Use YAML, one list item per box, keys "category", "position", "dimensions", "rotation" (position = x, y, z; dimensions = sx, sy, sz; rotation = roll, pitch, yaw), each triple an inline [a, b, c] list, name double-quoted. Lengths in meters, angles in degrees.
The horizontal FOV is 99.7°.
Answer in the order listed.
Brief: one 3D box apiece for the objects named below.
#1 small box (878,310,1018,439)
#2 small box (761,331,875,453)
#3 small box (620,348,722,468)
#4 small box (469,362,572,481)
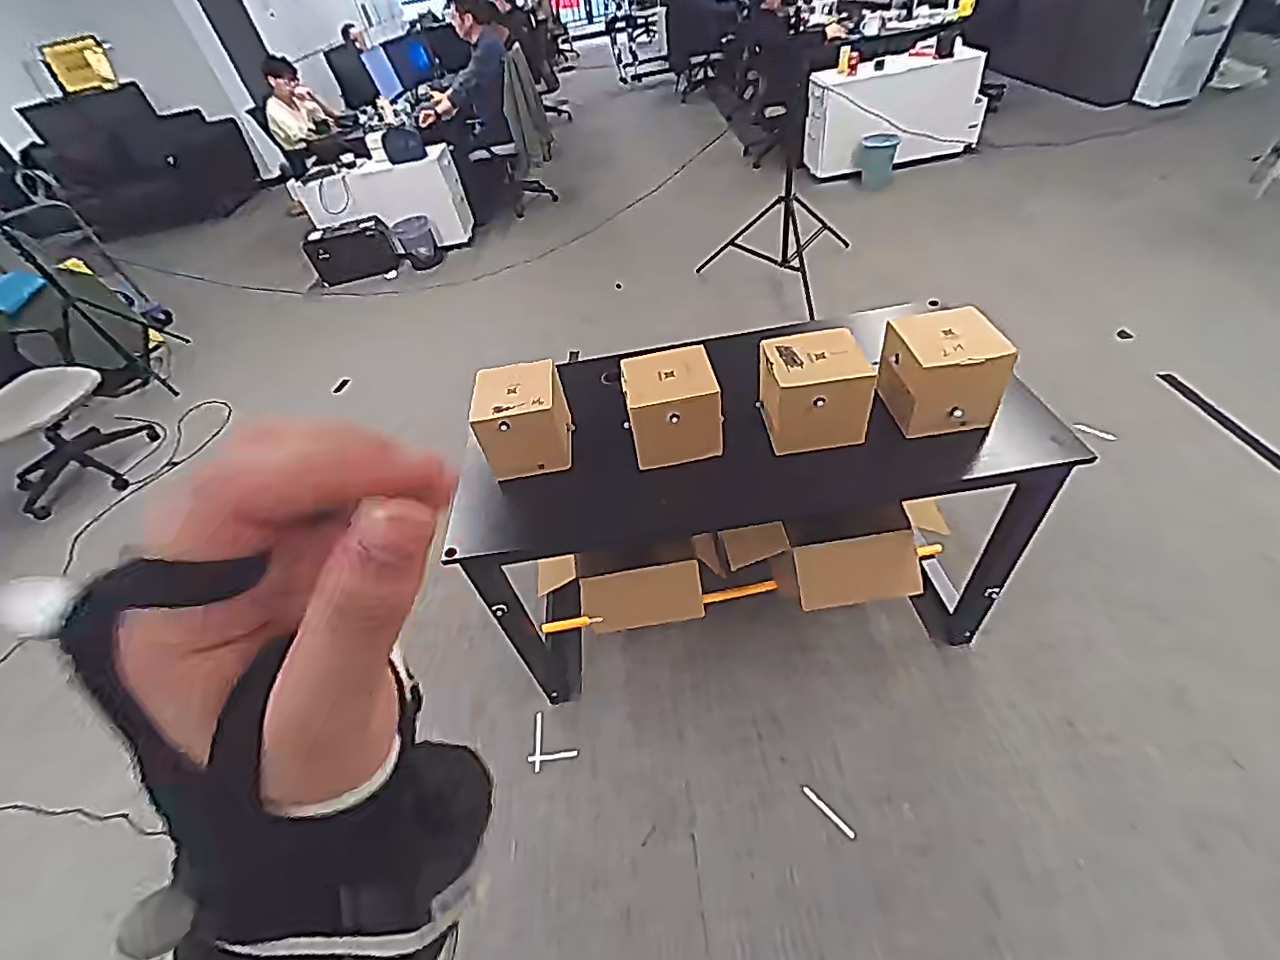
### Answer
- category: "small box"
  position: [0.583, -0.204, 1.055]
  dimensions: [0.168, 0.176, 0.179]
  rotation: [-9, 45, 5]
- category: "small box"
  position: [0.341, -0.169, 1.071]
  dimensions: [0.179, 0.176, 0.168]
  rotation: [-7, 45, 4]
- category: "small box"
  position: [0.064, -0.142, 1.106]
  dimensions: [0.179, 0.176, 0.168]
  rotation: [-10, 46, 0]
- category: "small box"
  position: [-0.243, -0.123, 1.146]
  dimensions: [0.168, 0.176, 0.179]
  rotation: [-9, 45, 2]
